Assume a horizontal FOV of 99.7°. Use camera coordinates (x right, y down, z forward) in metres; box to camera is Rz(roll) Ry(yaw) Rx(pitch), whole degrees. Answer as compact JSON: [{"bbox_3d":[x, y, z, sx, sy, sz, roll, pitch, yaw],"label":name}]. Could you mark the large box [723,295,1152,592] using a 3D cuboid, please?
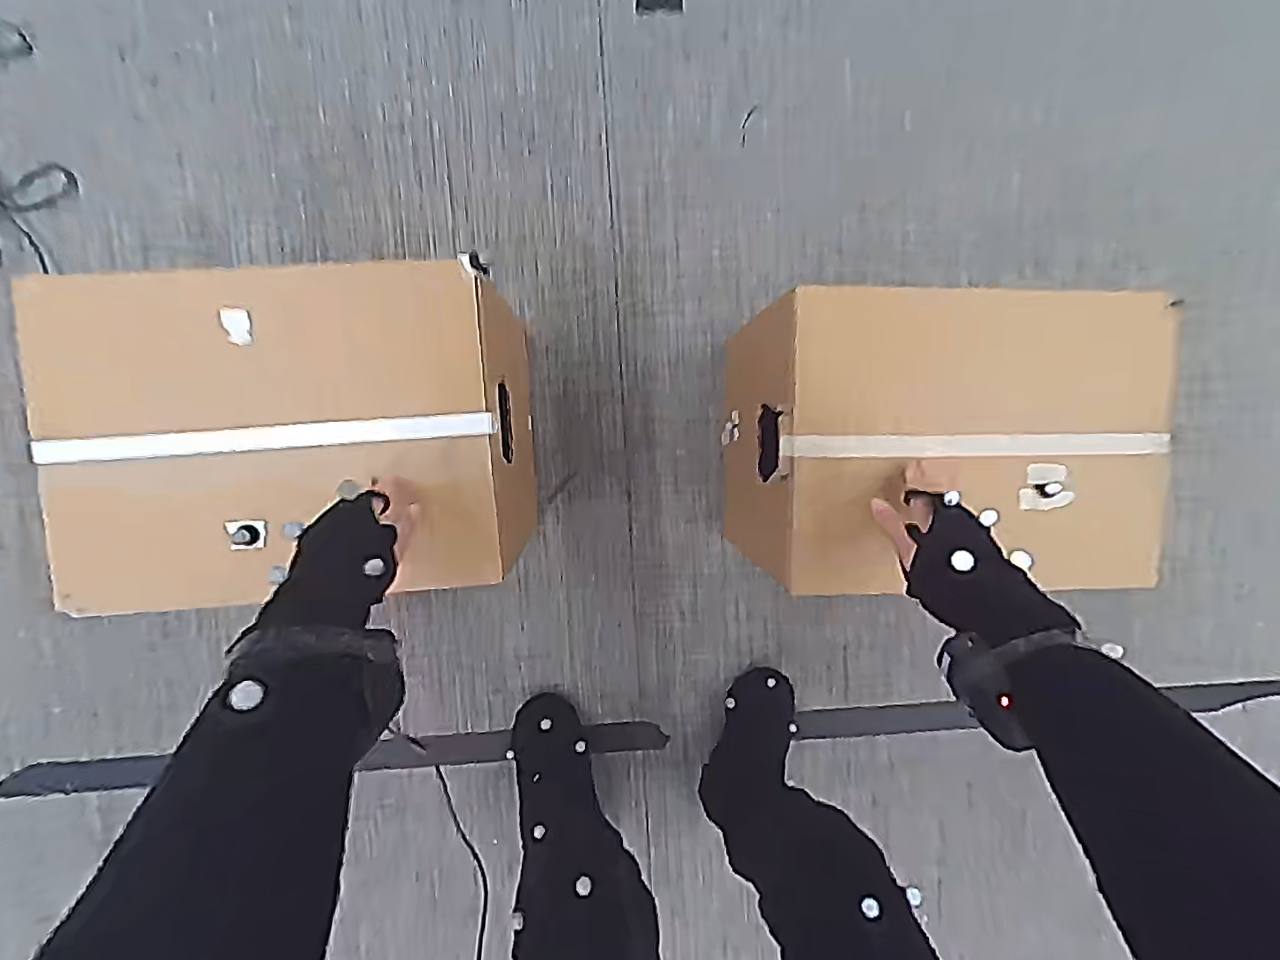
[{"bbox_3d":[0.340,-0.046,0.723,0.408,0.320,0.320,0,94,-5],"label":"large box"}]
